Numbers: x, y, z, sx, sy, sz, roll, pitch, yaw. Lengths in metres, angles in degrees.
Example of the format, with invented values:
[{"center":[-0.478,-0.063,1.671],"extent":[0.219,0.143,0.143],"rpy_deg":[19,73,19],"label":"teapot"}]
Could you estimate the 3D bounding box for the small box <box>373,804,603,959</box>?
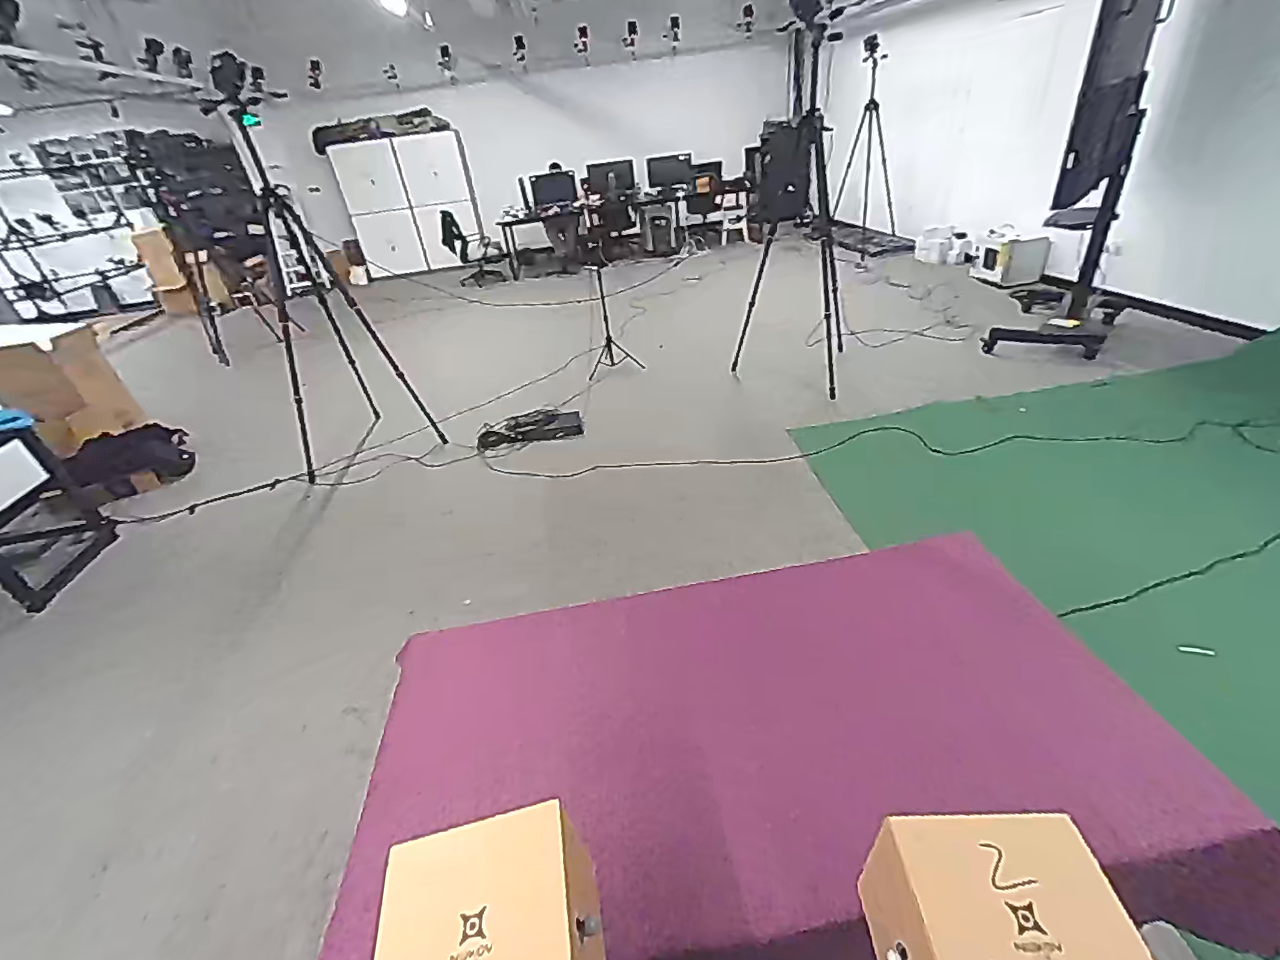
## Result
[{"center":[-0.128,0.441,0.494],"extent":[0.168,0.176,0.179],"rpy_deg":[-14,37,-5],"label":"small box"}]
